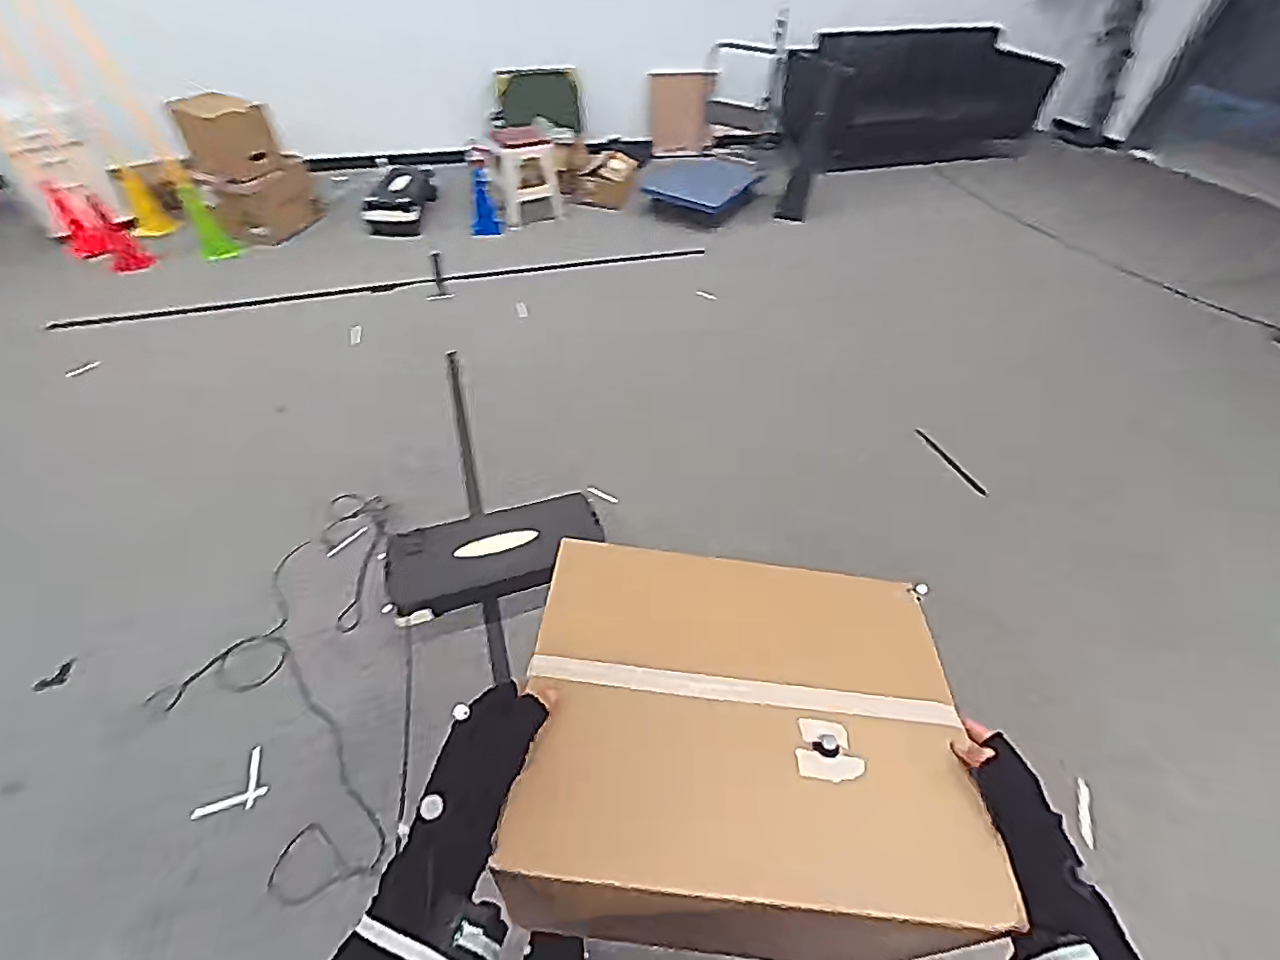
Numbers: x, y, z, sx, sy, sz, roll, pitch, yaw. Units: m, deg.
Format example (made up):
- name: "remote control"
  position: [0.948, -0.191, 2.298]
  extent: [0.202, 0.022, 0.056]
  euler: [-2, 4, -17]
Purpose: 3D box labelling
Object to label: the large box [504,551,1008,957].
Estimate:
- name: "large box"
  position: [0.083, 0.314, 0.622]
  extent: [0.408, 0.320, 0.320]
  euler: [7, 44, -1]
